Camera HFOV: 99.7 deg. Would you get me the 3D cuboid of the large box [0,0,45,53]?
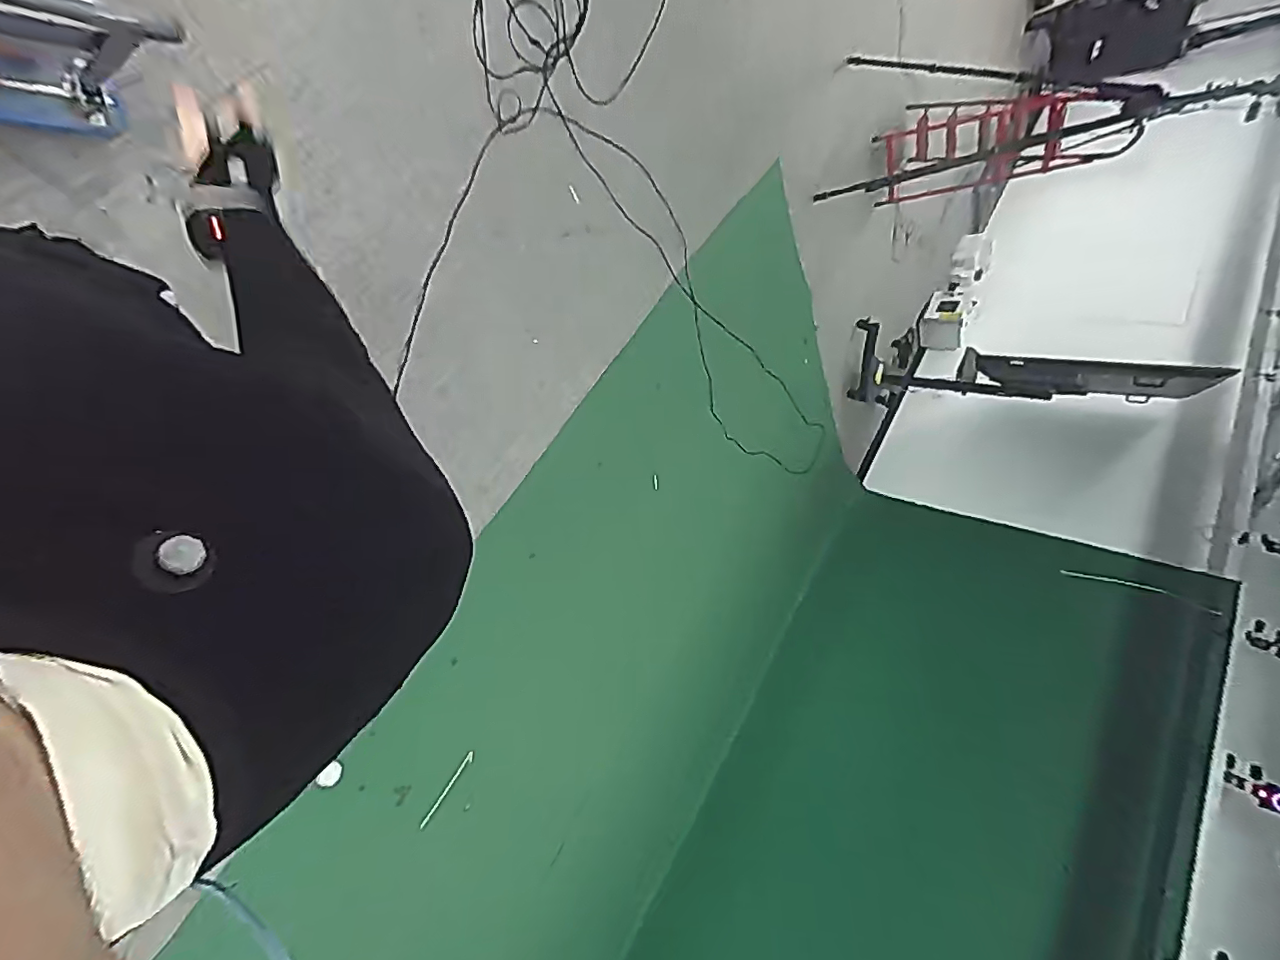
[{"bbox_3d":[-1.013,-0.831,0.651,0.320,0.320,0.408,-22,118,-45],"label":"large box"}]
